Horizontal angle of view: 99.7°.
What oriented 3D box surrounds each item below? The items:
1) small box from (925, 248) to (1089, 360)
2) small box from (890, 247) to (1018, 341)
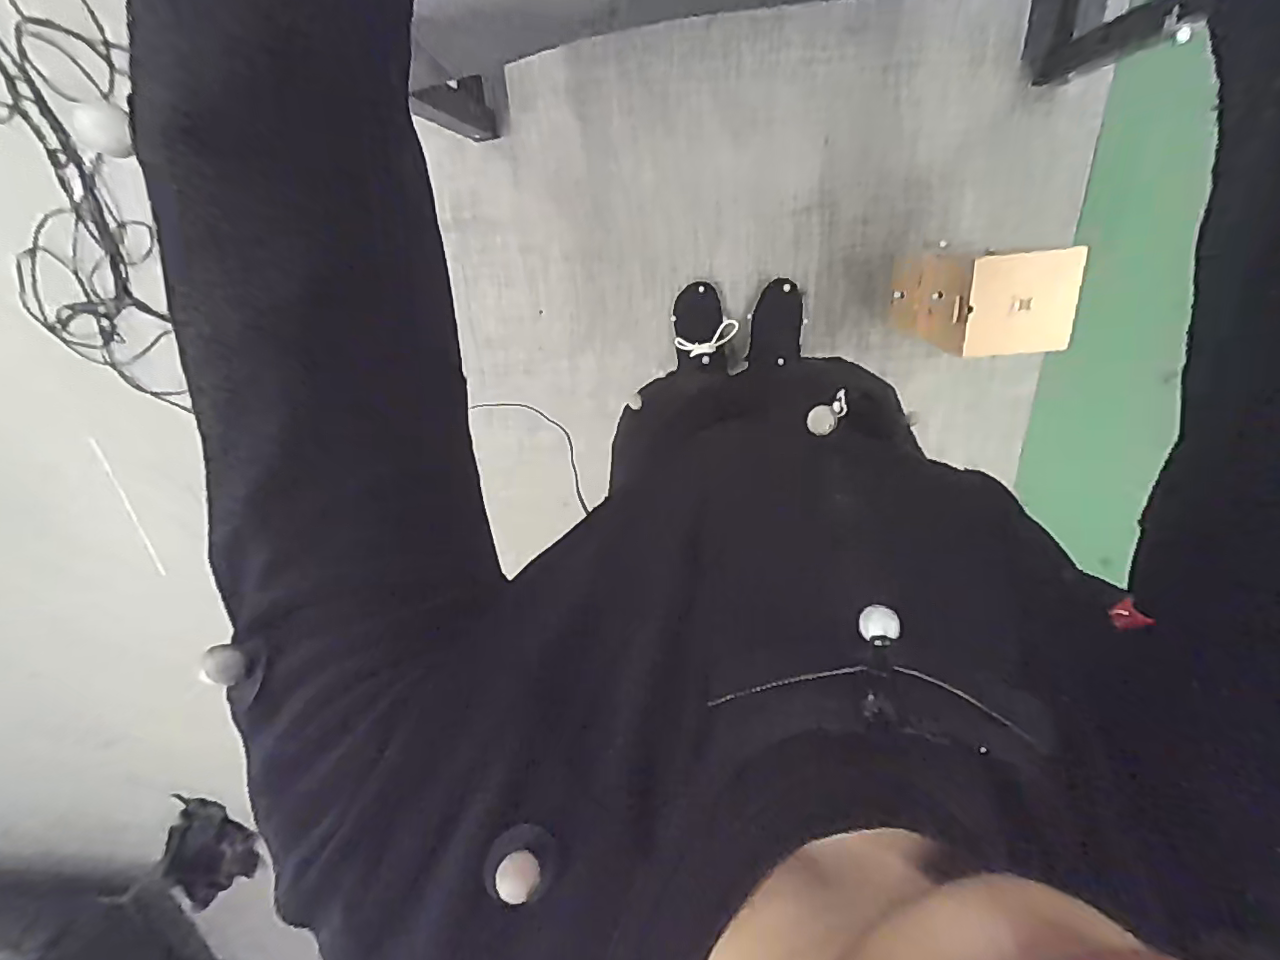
[{"bbox_3d":[0.643,-0.320,0.972,0.179,0.176,0.168,-4,113,7],"label":"small box"},{"bbox_3d":[0.638,-0.386,1.124,0.179,0.176,0.168,-3,112,7],"label":"small box"}]
